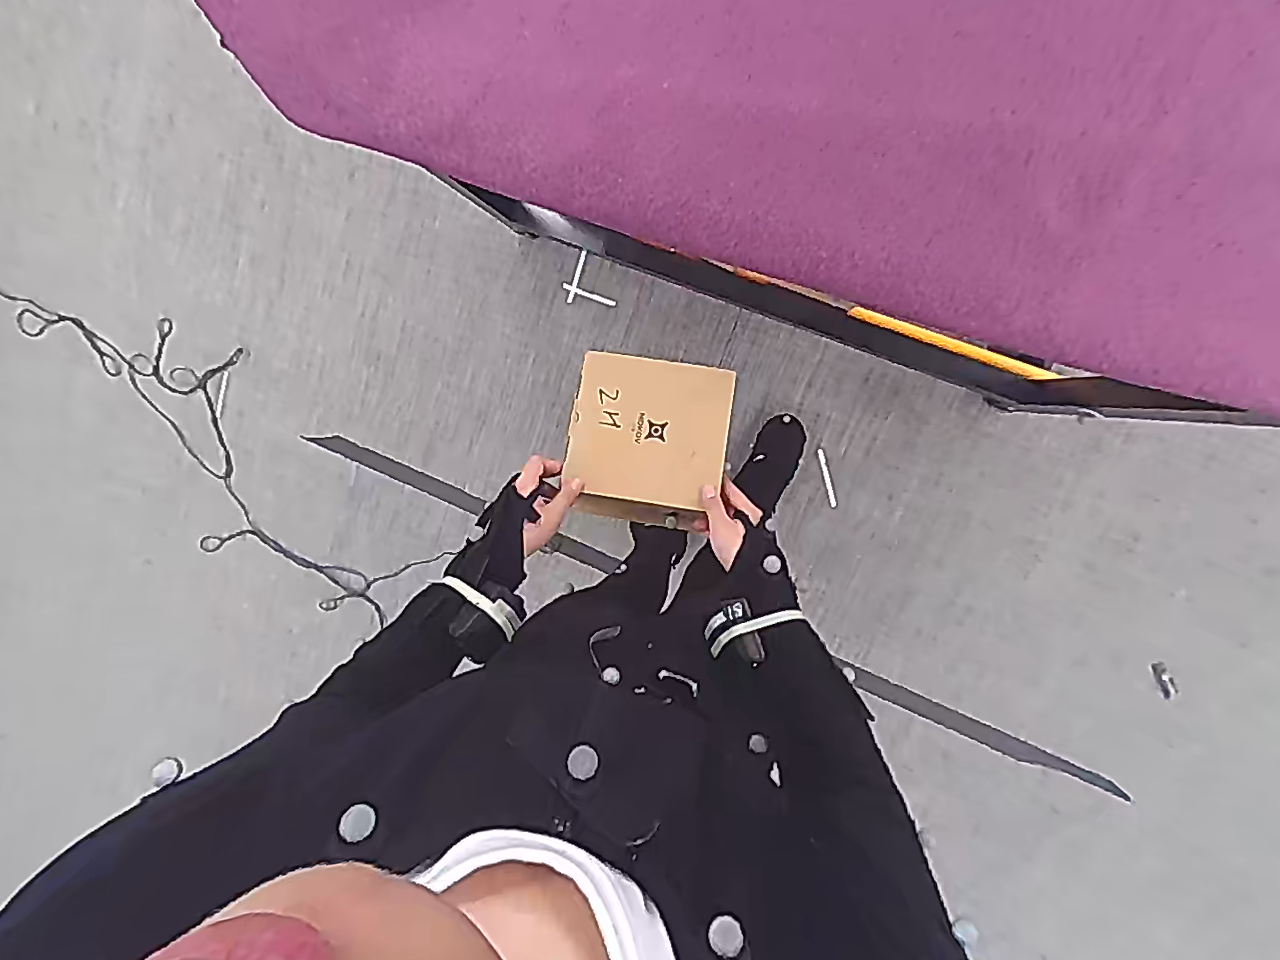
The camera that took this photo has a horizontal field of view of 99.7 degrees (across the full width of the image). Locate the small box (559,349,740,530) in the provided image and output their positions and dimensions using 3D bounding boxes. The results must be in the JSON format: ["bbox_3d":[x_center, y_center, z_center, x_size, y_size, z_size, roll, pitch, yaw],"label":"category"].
[{"bbox_3d":[0.014,-0.038,0.665,0.179,0.176,0.168,9,77,4],"label":"small box"}]
